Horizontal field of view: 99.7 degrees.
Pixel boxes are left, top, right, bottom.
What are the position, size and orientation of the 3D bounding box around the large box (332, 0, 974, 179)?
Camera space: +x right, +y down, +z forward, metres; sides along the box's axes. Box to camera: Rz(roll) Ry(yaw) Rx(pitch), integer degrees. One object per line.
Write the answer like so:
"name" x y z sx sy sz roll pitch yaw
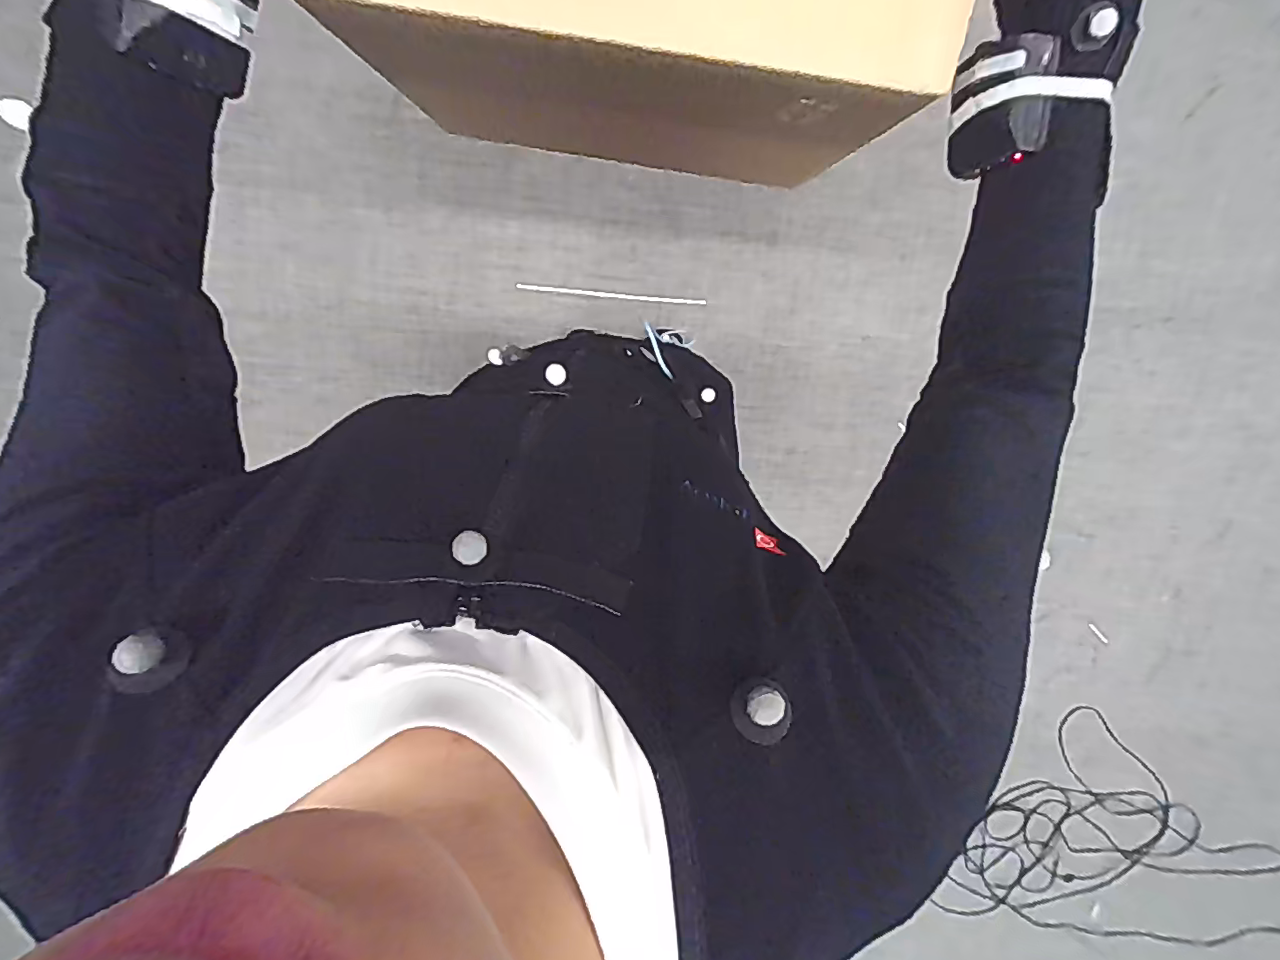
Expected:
"large box" 0.011 -0.459 0.421 0.408 0.320 0.320 6 109 -5
